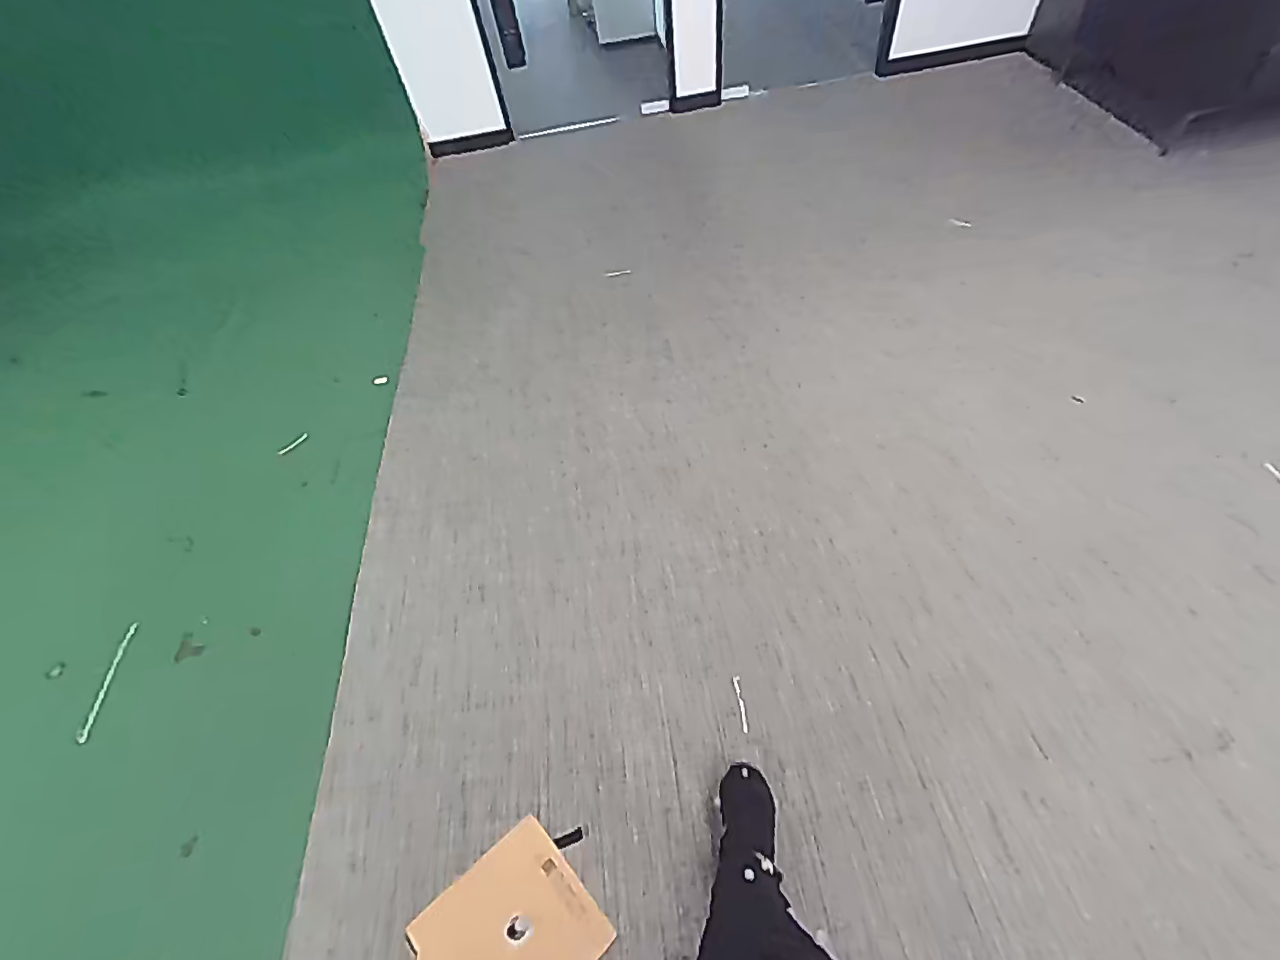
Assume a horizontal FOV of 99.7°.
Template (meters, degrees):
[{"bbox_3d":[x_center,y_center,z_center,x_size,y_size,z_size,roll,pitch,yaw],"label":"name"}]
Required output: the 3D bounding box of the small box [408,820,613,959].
[{"bbox_3d":[-0.154,0.552,0.645,0.168,0.179,0.176,42,45,23],"label":"small box"}]
